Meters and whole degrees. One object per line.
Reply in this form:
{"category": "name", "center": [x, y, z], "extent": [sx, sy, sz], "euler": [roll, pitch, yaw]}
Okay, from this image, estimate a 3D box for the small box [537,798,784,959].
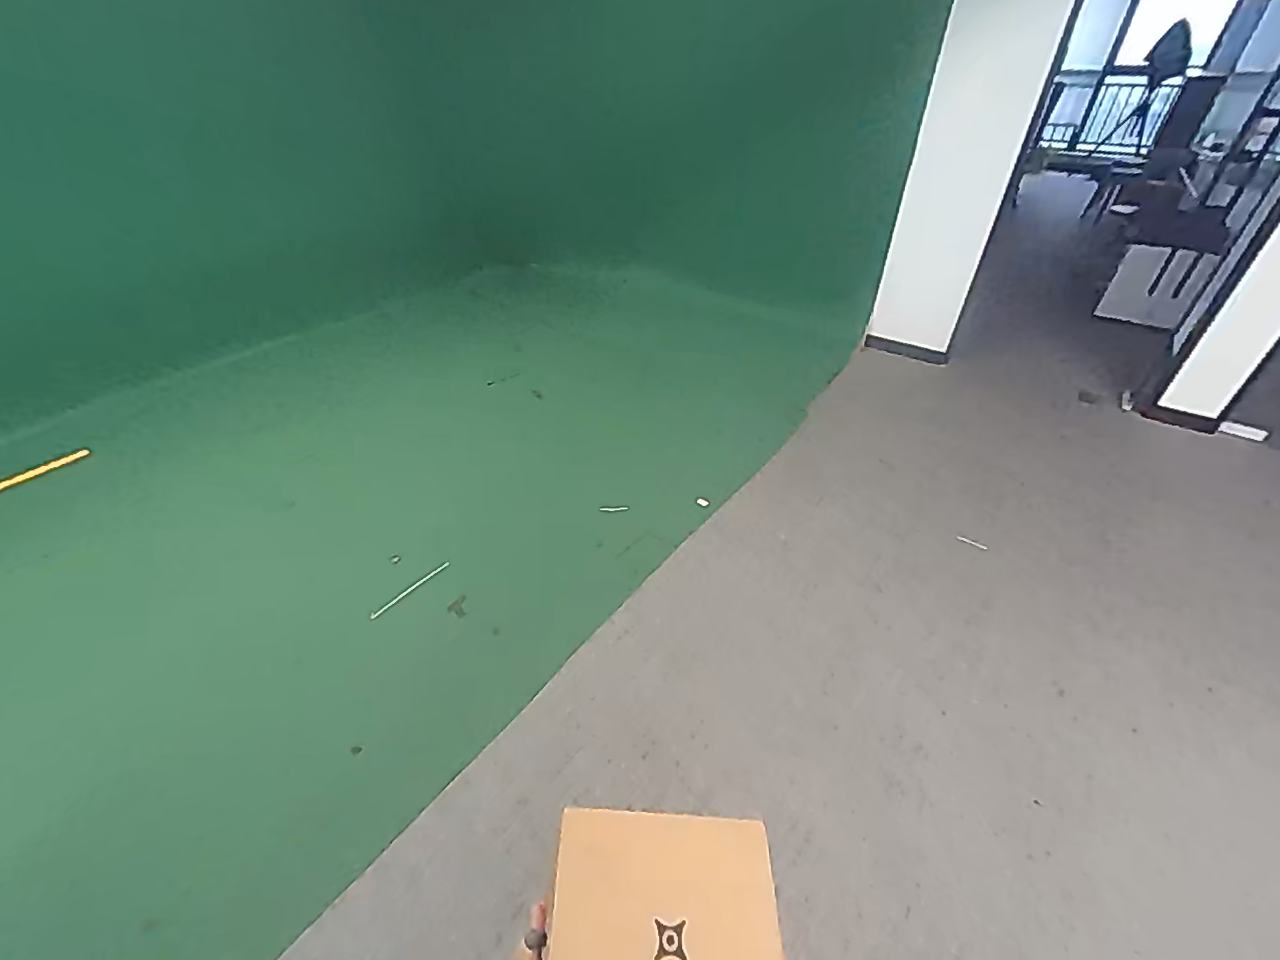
{"category": "small box", "center": [0.005, 0.378, 0.421], "extent": [0.168, 0.176, 0.179], "euler": [8, 42, -6]}
